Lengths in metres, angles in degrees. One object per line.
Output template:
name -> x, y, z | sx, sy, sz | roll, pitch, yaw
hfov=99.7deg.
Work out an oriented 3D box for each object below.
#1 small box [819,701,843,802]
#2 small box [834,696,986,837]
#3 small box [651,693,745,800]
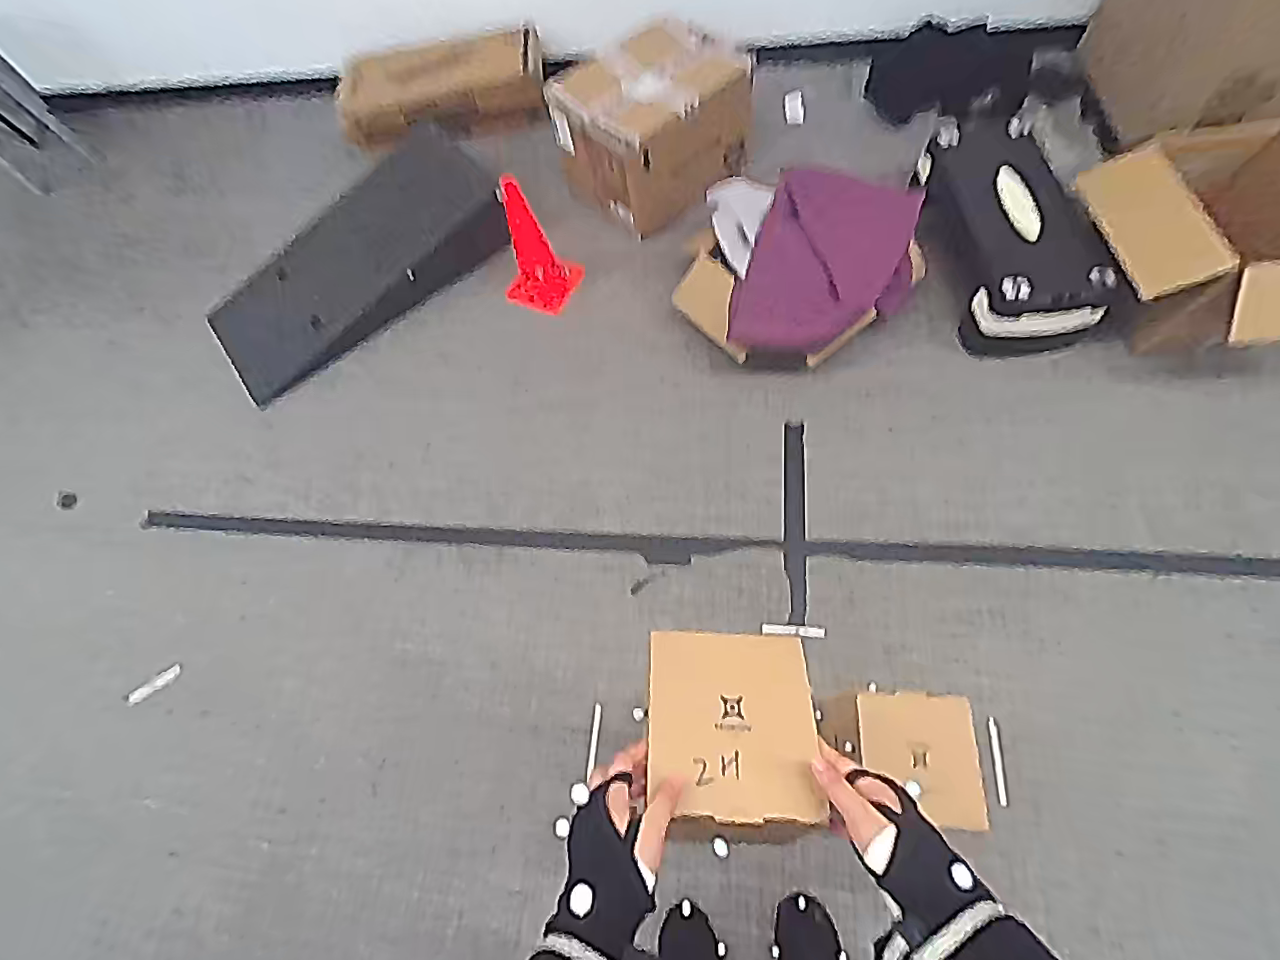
small box -> 0.440, 0.520, 1.016 | 0.179, 0.176, 0.168 | 6, 66, 8
small box -> 0.418, 0.450, 0.871 | 0.168, 0.176, 0.179 | 0, 67, 8
small box -> 0.112, 0.513, 1.056 | 0.168, 0.176, 0.179 | -4, 65, 5
